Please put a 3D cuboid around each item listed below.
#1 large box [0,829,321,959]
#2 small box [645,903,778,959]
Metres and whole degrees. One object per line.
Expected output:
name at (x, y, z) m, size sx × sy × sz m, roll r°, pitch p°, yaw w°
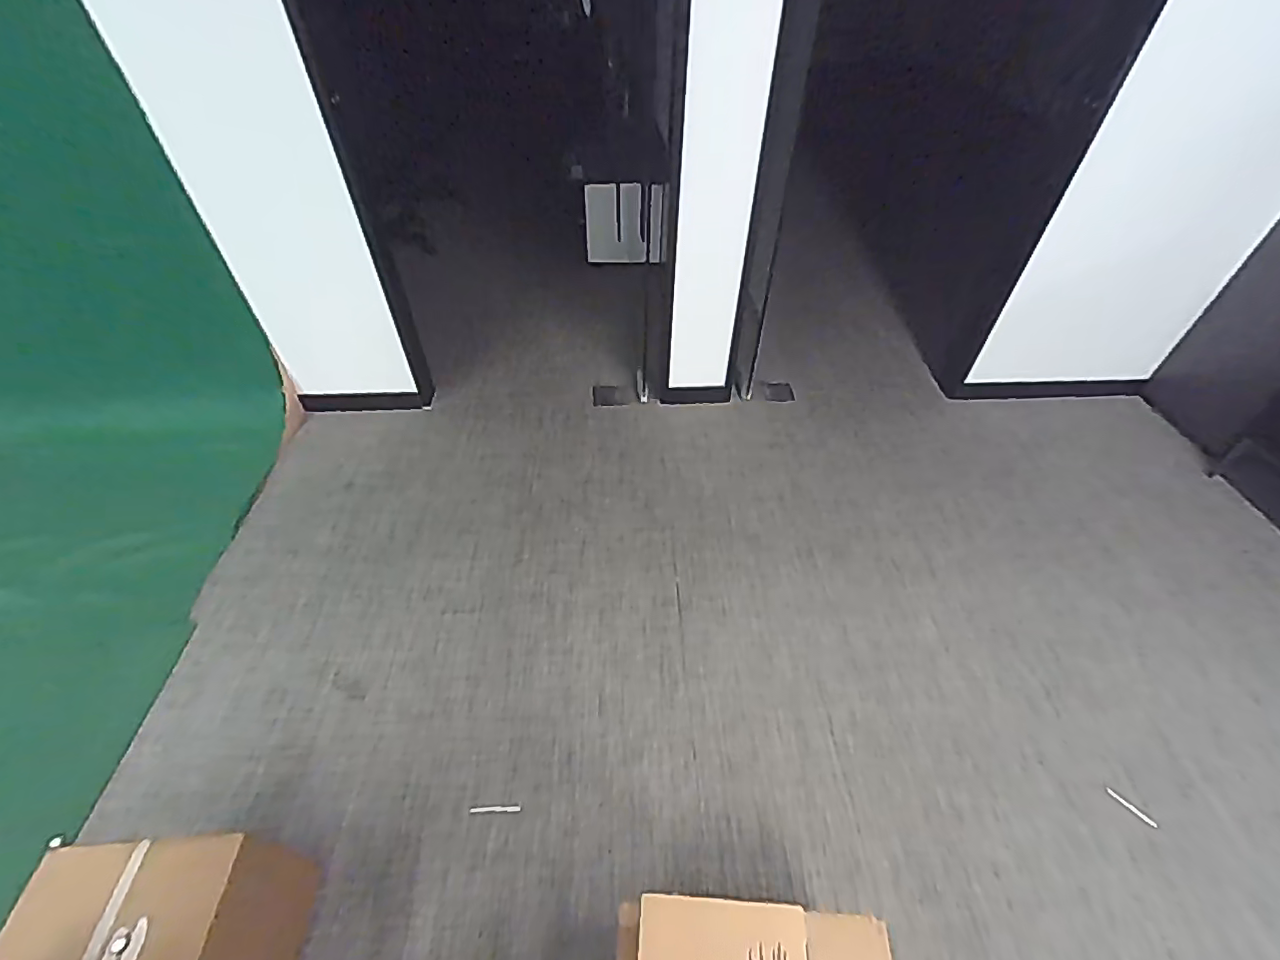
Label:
large box at (-0.791, 0.840, 0.866) m, size 0.320 × 0.320 × 0.408 m, roll -2°, pitch 45°, yaw -3°
small box at (0.087, 0.675, 0.698) m, size 0.168 × 0.176 × 0.179 m, roll 3°, pitch 44°, yaw 1°
